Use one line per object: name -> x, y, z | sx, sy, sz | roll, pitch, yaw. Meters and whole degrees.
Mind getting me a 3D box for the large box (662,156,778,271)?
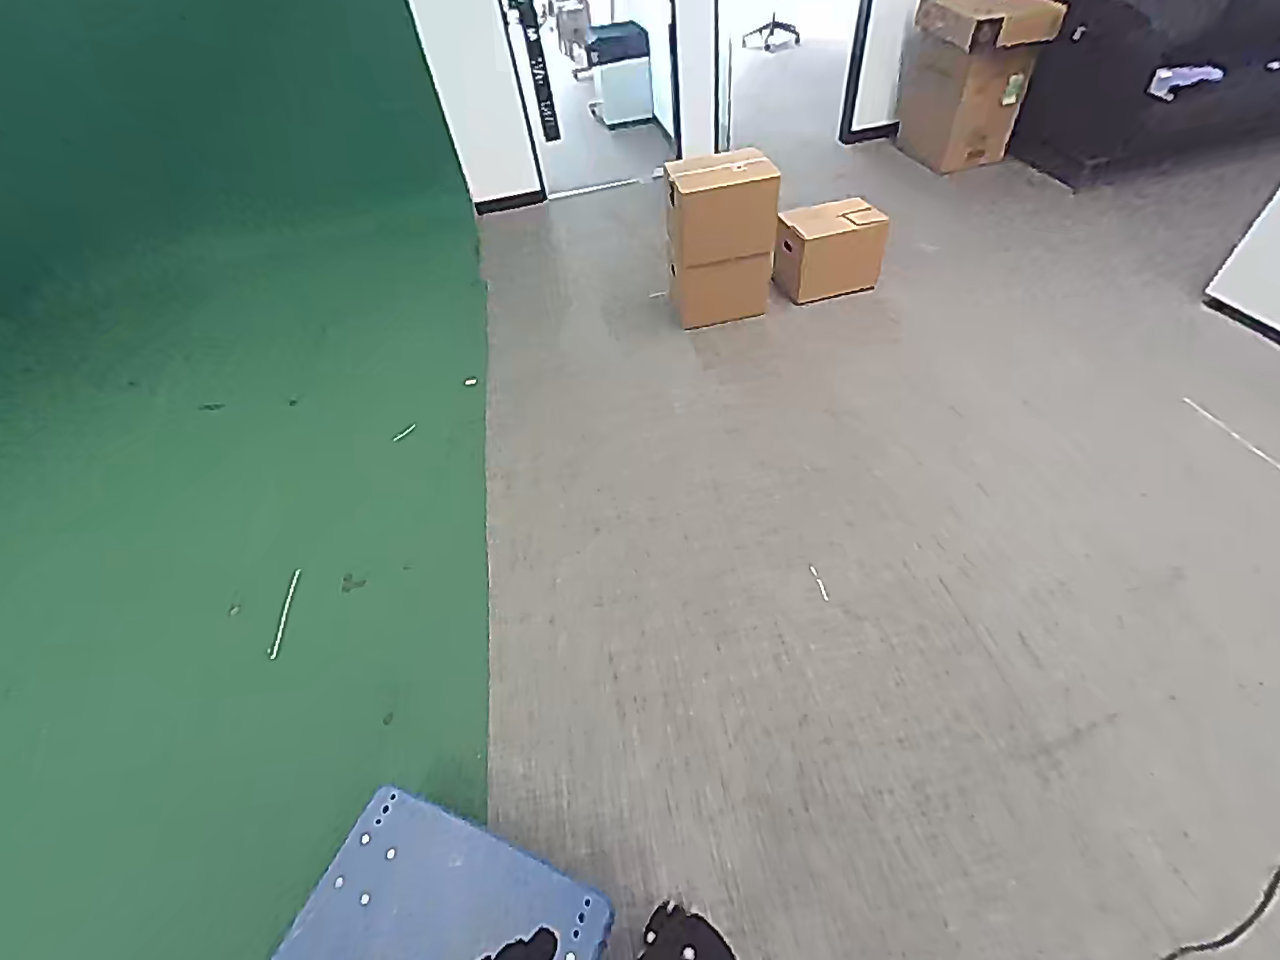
large box -> 0.323, -1.125, 2.284 | 0.408, 0.320, 0.320 | -11, 50, -4
